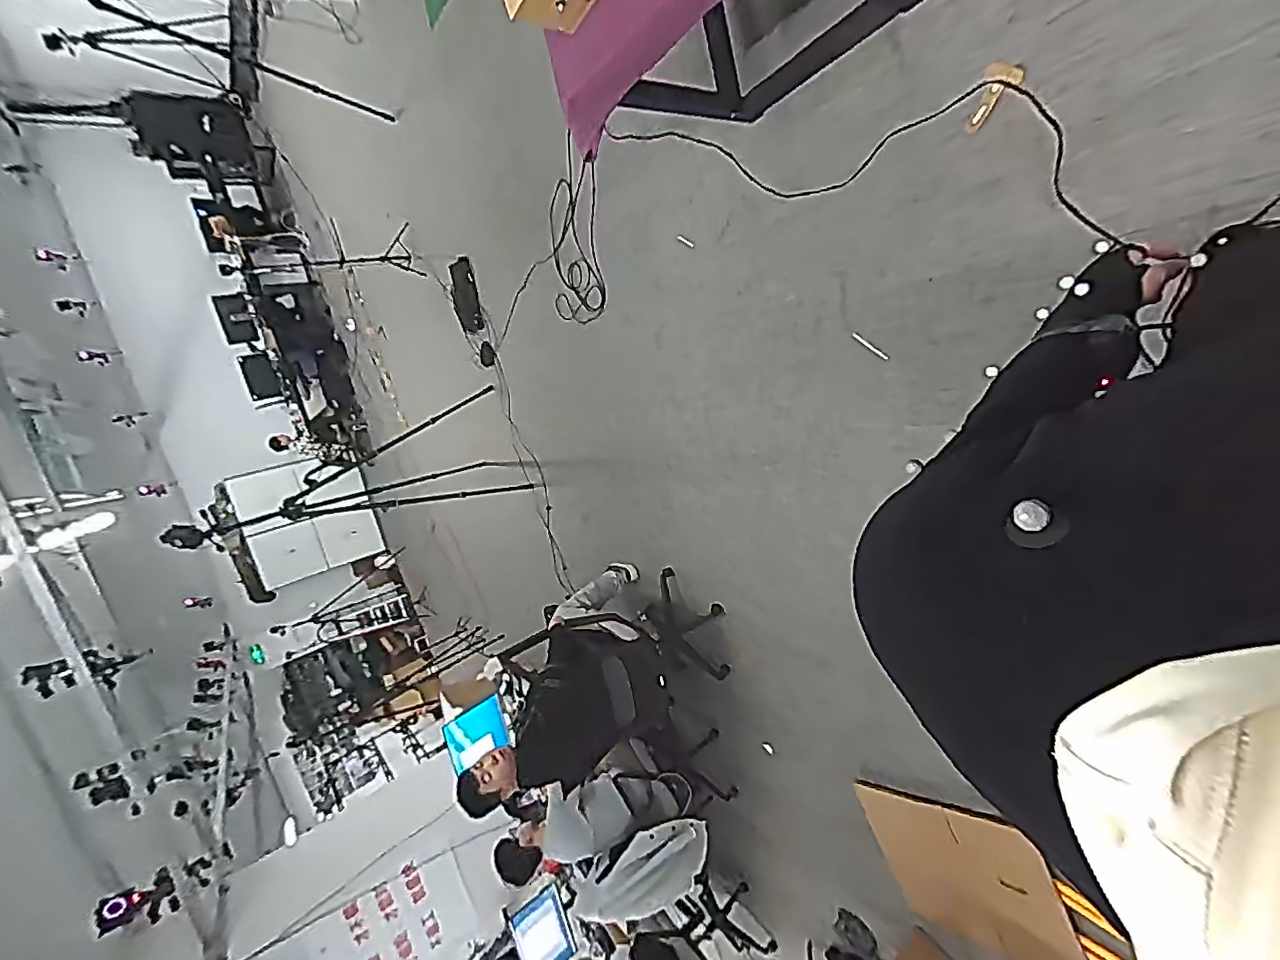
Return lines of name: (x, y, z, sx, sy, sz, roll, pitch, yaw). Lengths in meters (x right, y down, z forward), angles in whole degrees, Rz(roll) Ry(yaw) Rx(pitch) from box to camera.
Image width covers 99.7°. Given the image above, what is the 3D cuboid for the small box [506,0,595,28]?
small box: (-0.193, -1.115, 1.157, 0.168, 0.176, 0.179, -5, 103, 54)
